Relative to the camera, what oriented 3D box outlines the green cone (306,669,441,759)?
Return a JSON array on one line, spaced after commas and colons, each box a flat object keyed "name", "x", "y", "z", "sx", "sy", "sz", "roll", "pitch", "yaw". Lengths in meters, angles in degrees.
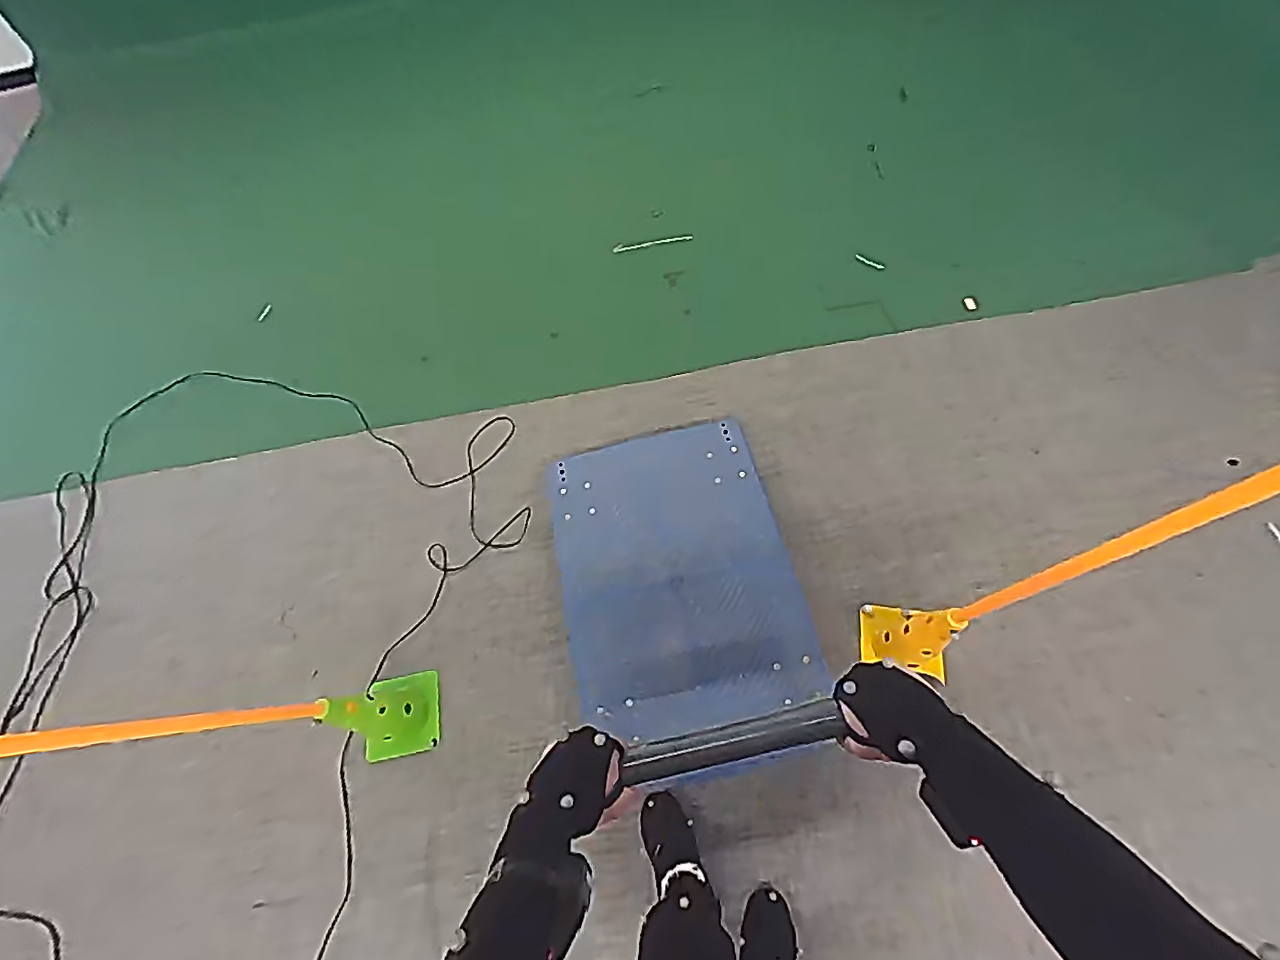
[{"name": "green cone", "x": -0.662, "y": 0.556, "z": 1.309, "sx": 0.202, "sy": 0.368, "sz": 0.200, "roll": -15, "pitch": 63, "yaw": 2}]
